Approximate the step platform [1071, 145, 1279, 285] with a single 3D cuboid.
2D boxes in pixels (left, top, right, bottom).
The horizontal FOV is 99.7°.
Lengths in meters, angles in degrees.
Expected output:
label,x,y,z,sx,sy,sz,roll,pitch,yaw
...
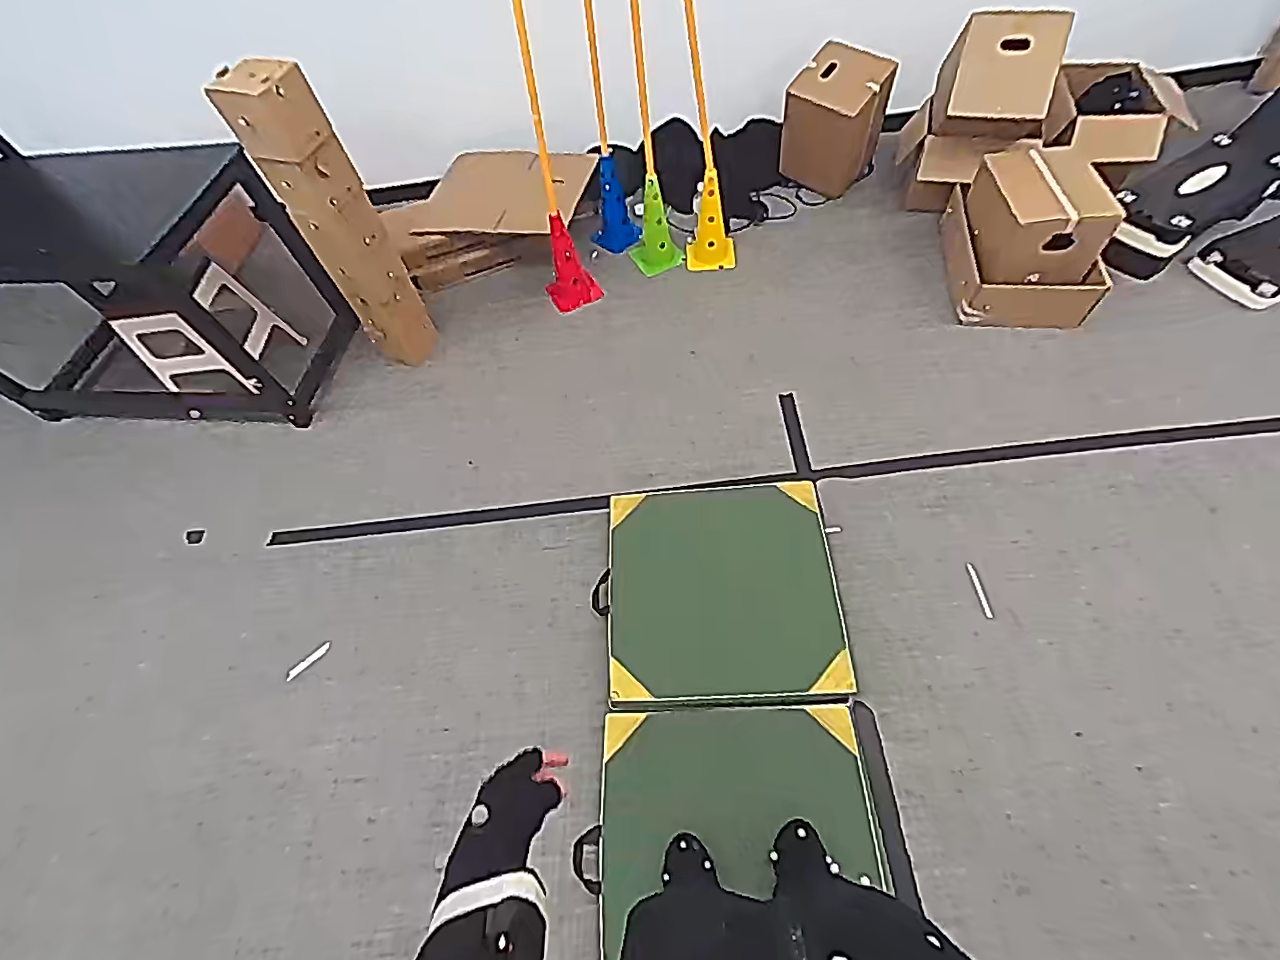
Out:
label,x,y,z,sx,sy,sz,roll,pitch,yaw
step platform,2.015,-1.010,2.043,0.684,0.204,0.286,-31,60,-11
